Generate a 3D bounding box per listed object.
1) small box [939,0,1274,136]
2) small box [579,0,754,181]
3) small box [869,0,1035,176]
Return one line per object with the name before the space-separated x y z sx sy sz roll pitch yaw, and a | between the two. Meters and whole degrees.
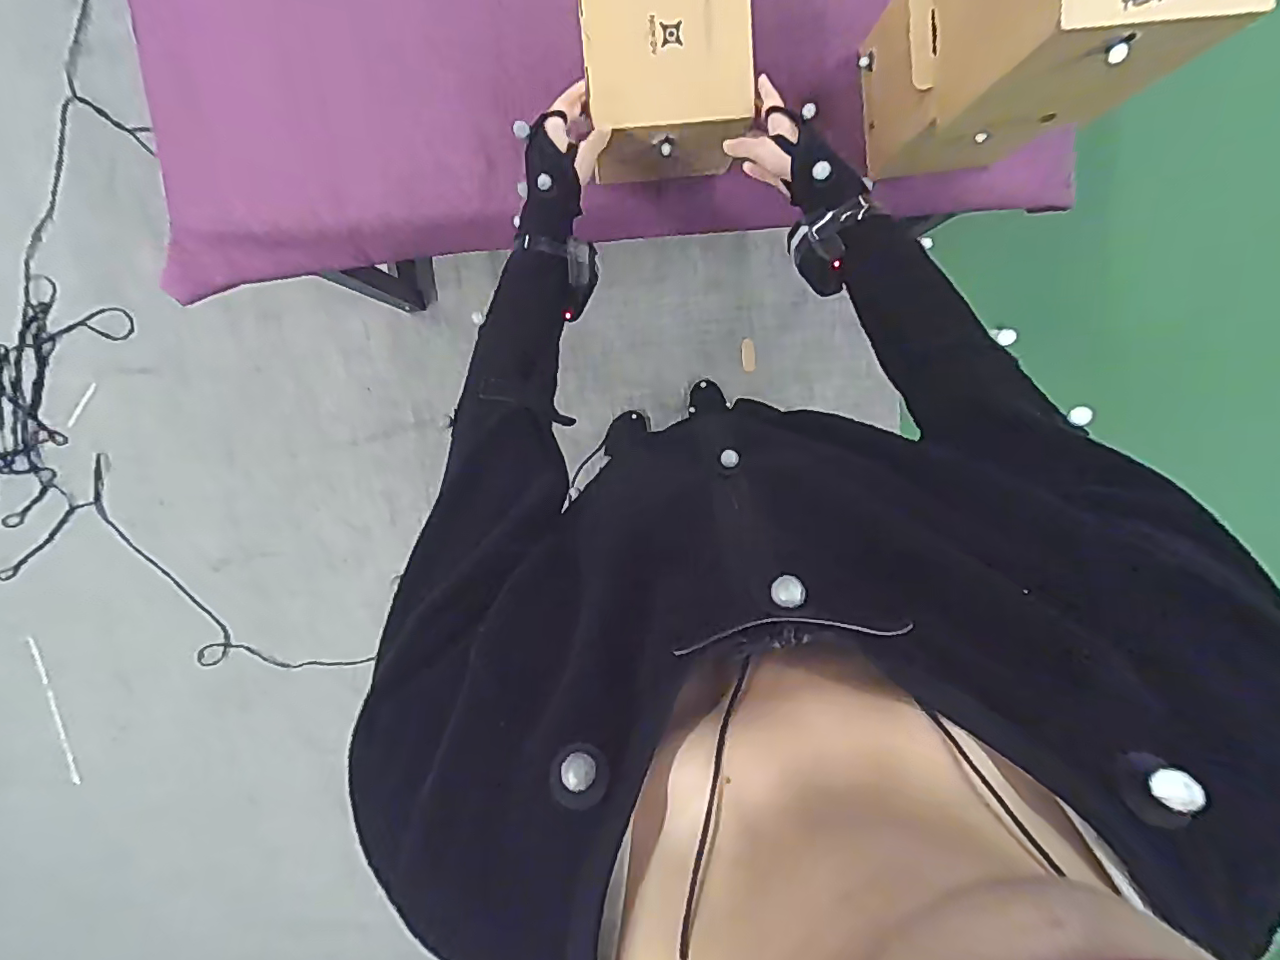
small box | 0.387 -0.441 0.475 0.168 0.176 0.179 -5 98 1
small box | 0.027 -0.470 0.633 0.179 0.176 0.168 -5 100 -1
small box | 0.385 -0.482 0.635 0.179 0.176 0.168 -7 98 0
